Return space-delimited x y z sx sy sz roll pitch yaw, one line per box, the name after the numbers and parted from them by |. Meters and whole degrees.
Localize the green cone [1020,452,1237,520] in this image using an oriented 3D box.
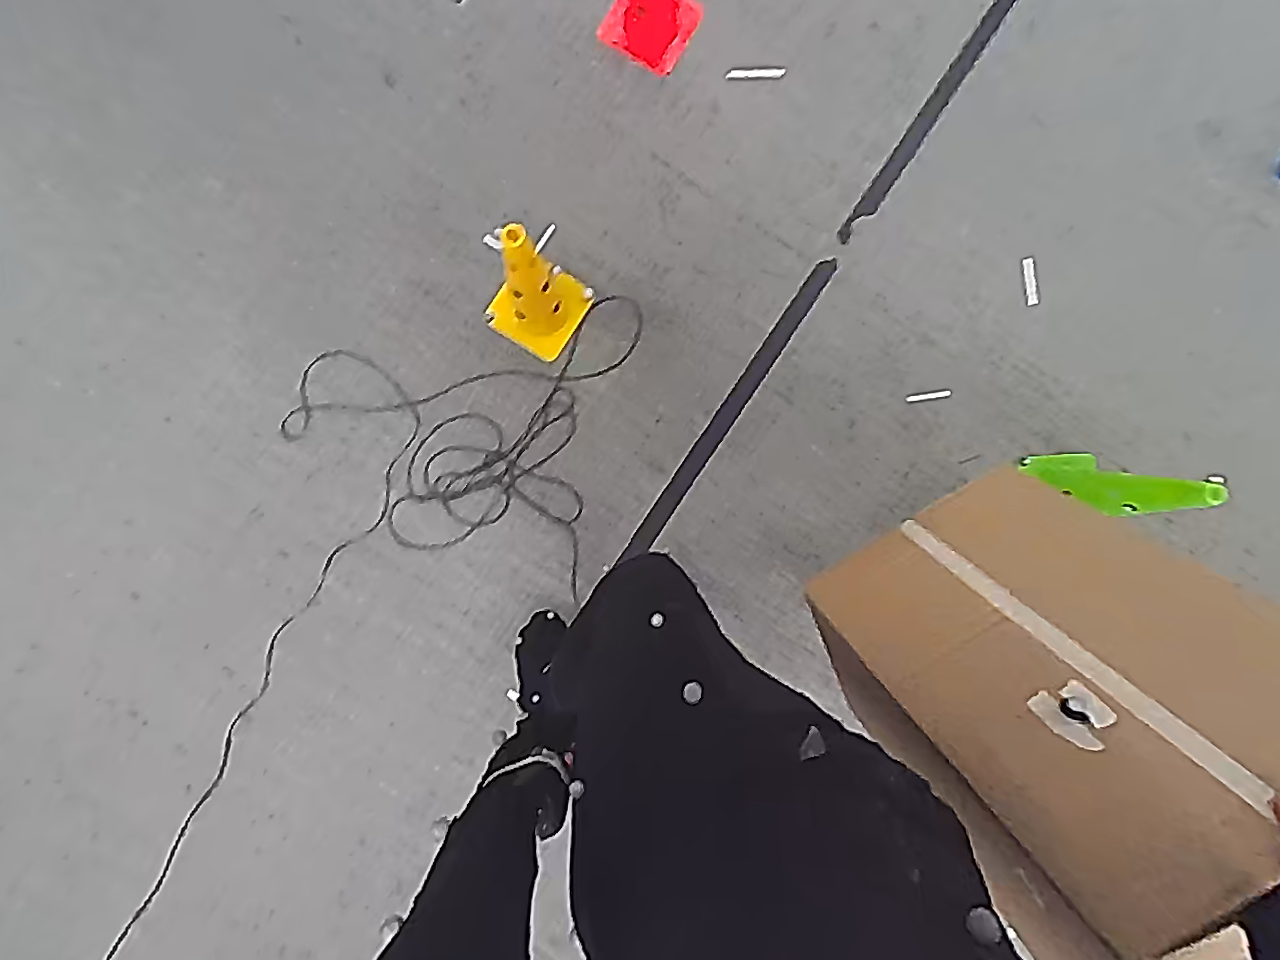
1.050 0.033 1.161 0.202 0.368 0.200 -4 90 -4 | green cone

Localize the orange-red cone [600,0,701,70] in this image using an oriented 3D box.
0.031 -1.119 1.143 0.198 0.360 0.199 31 89 -1 | orange-red cone

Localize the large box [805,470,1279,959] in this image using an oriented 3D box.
0.456 0.261 0.616 0.320 0.408 0.320 -30 126 -1 | large box
